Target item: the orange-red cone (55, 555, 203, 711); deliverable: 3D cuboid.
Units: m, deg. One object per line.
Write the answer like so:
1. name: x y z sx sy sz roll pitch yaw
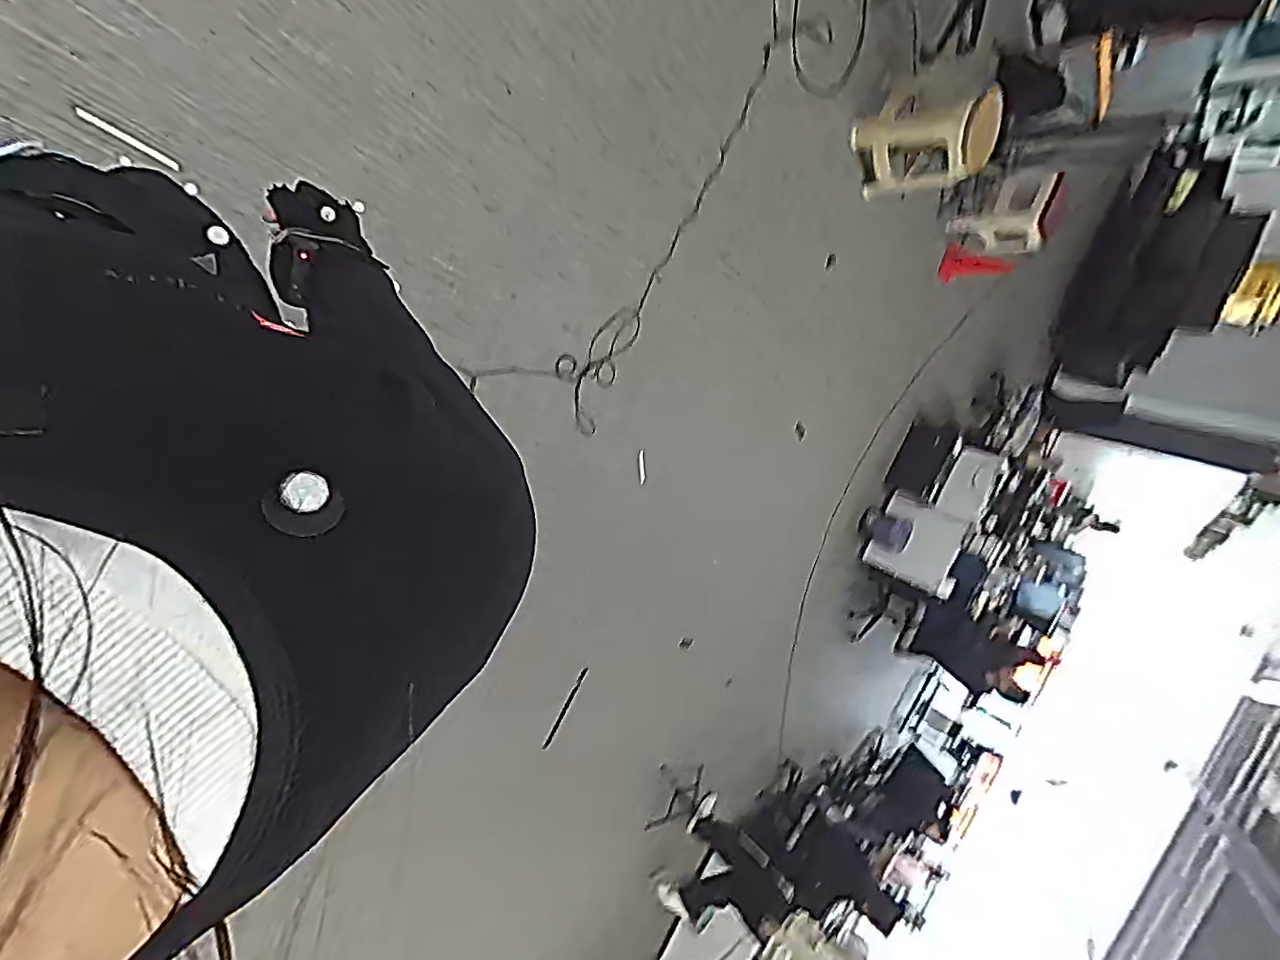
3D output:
1. orange-red cone: -1.005 0.329 1.080 0.199 0.360 0.198 31 90 -50
